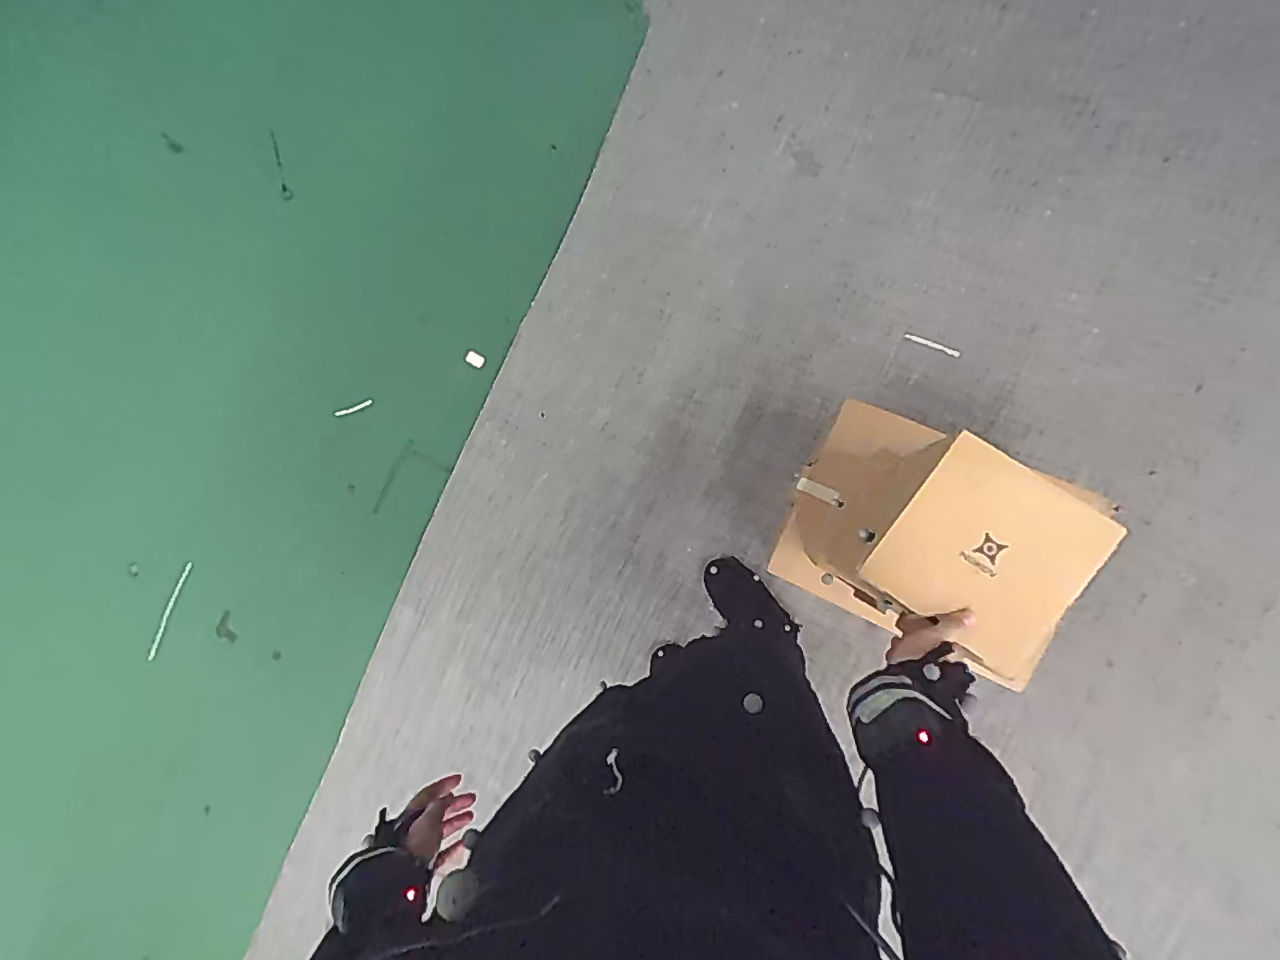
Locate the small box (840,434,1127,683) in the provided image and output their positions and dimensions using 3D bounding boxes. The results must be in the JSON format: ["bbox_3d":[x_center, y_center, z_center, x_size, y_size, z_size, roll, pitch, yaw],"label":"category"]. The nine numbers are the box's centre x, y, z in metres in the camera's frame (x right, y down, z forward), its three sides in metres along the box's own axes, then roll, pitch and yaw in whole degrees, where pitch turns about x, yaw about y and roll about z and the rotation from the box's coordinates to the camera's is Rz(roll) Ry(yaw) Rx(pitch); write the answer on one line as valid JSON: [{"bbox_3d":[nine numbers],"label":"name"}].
[{"bbox_3d":[0.340,0.076,0.581,0.168,0.176,0.179,36,93,12],"label":"small box"}]

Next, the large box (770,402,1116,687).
[{"bbox_3d":[0.480,0.094,0.970,0.408,0.320,0.320,25,95,12],"label":"large box"}]
